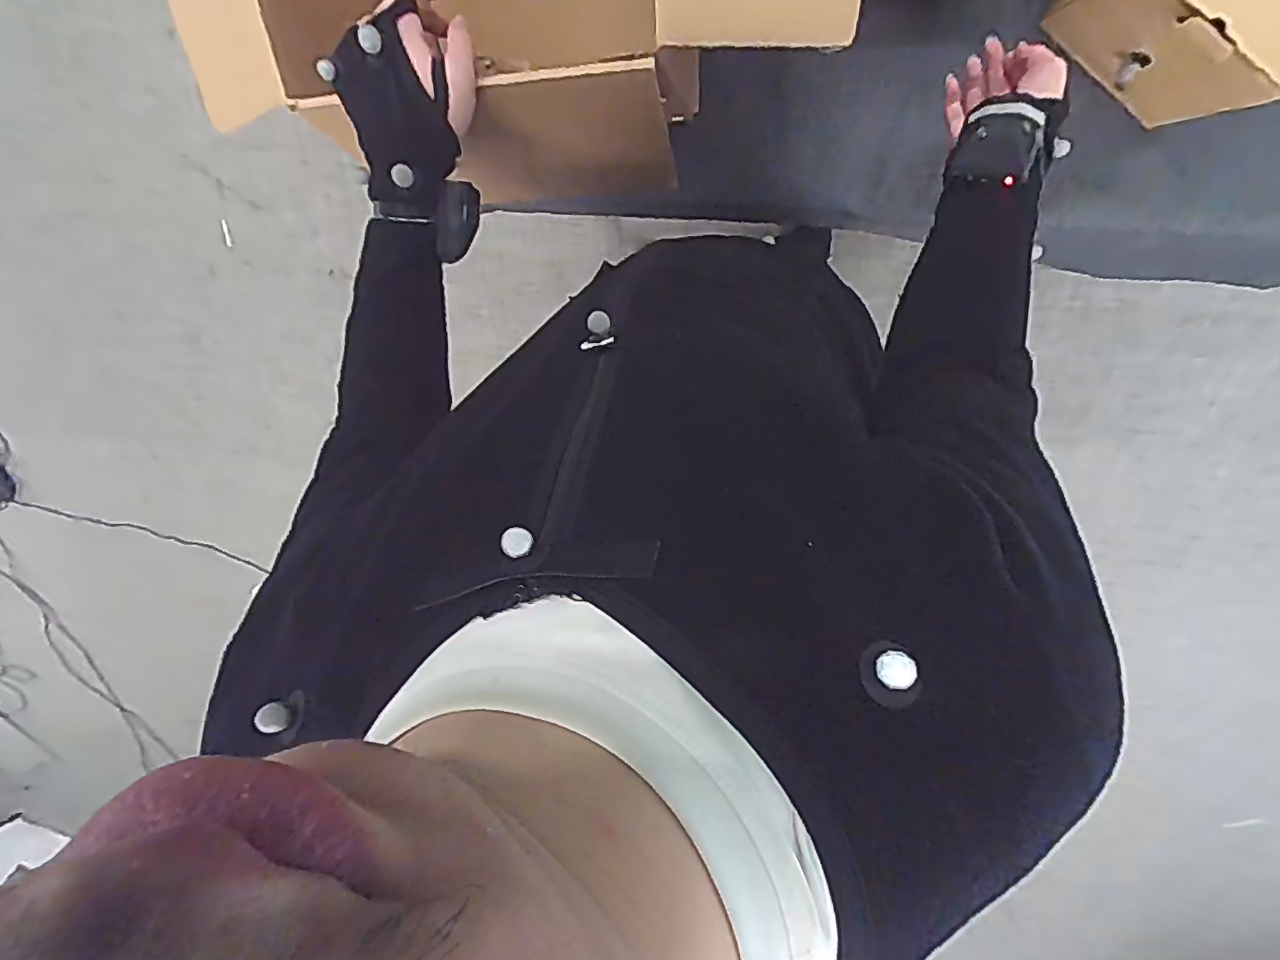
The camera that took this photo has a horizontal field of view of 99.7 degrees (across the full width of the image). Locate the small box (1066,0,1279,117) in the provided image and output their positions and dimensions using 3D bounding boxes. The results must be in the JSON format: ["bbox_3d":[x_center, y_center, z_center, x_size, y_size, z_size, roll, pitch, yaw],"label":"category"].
[{"bbox_3d":[0.512,-0.446,0.456,0.168,0.176,0.179,36,119,-7],"label":"small box"}]
